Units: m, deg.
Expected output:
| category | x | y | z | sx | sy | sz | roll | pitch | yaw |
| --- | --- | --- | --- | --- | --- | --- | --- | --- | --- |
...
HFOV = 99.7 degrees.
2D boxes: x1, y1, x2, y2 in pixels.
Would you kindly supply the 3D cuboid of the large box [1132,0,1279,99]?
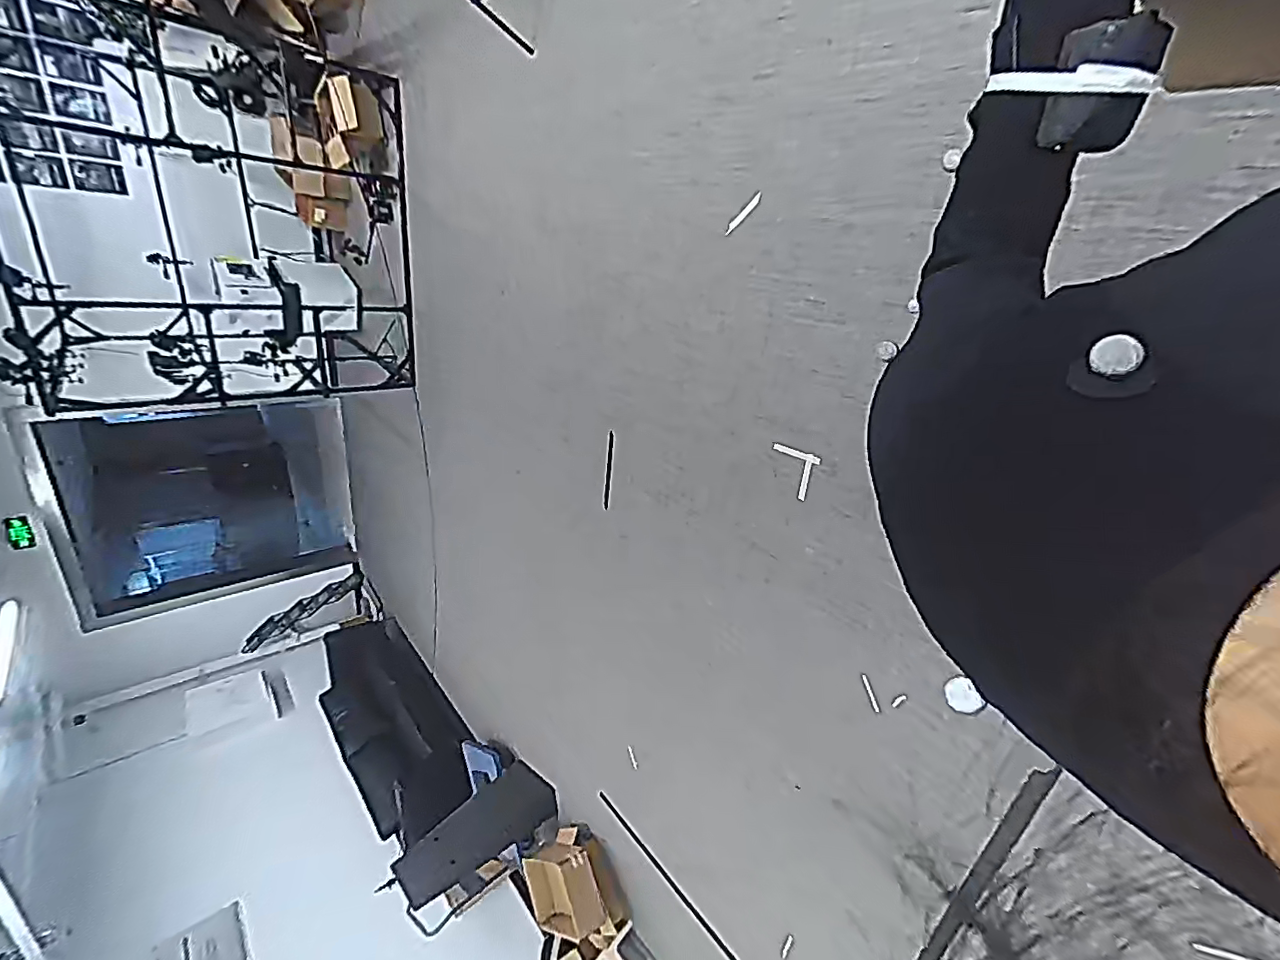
| category | x | y | z | sx | sy | sz | roll | pitch | yaw |
| --- | --- | --- | --- | --- | --- | --- | --- | --- | --- |
| large box | 0.529 | -0.399 | 0.229 | 0.408 | 0.320 | 0.320 | 25 | 122 | 38 |
